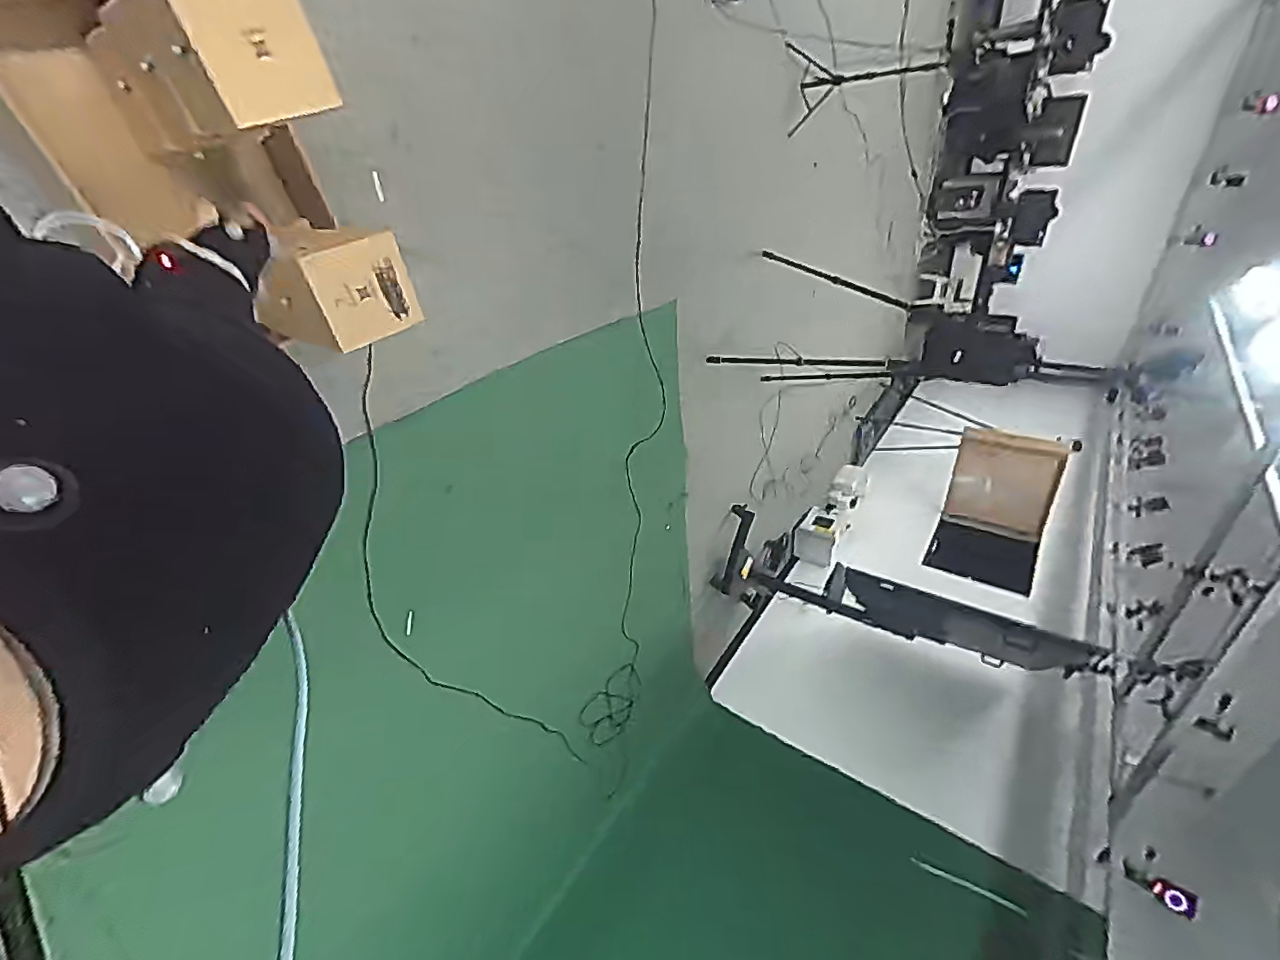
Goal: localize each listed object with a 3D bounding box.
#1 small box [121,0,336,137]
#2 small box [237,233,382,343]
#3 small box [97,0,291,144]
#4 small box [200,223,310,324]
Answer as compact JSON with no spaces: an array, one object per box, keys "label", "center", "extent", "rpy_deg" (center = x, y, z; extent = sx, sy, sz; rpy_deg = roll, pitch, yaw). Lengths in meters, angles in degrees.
[{"label":"small box","center":[-0.601,-0.625,0.799],"extent":[0.168,0.176,0.179],"rpy_deg":[-44,137,-33]},{"label":"small box","center":[-0.673,-0.393,1.096],"extent":[0.179,0.176,0.168],"rpy_deg":[-42,137,-38]},{"label":"small box","center":[-0.729,-0.669,0.889],"extent":[0.168,0.176,0.179],"rpy_deg":[-40,137,-37]},{"label":"small box","center":[-0.805,-0.448,1.179],"extent":[0.168,0.176,0.179],"rpy_deg":[-42,136,-37]}]
